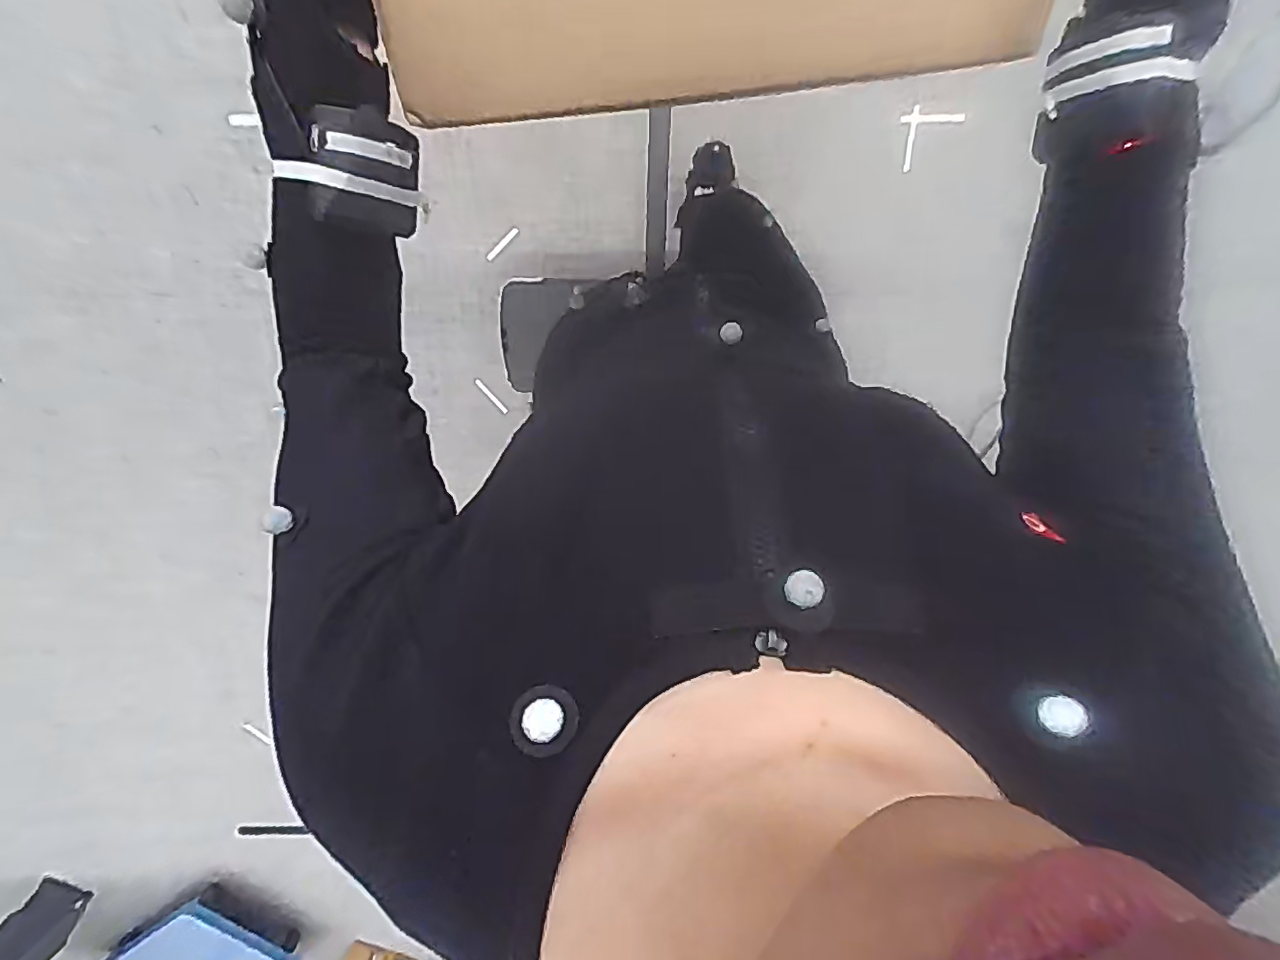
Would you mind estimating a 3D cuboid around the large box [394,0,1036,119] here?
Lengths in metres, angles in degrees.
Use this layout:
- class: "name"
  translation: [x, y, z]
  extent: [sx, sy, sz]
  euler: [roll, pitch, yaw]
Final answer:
- class: "large box"
  translation: [0.026, -0.471, 0.388]
  extent: [0.408, 0.320, 0.320]
  euler: [-7, 124, -1]
